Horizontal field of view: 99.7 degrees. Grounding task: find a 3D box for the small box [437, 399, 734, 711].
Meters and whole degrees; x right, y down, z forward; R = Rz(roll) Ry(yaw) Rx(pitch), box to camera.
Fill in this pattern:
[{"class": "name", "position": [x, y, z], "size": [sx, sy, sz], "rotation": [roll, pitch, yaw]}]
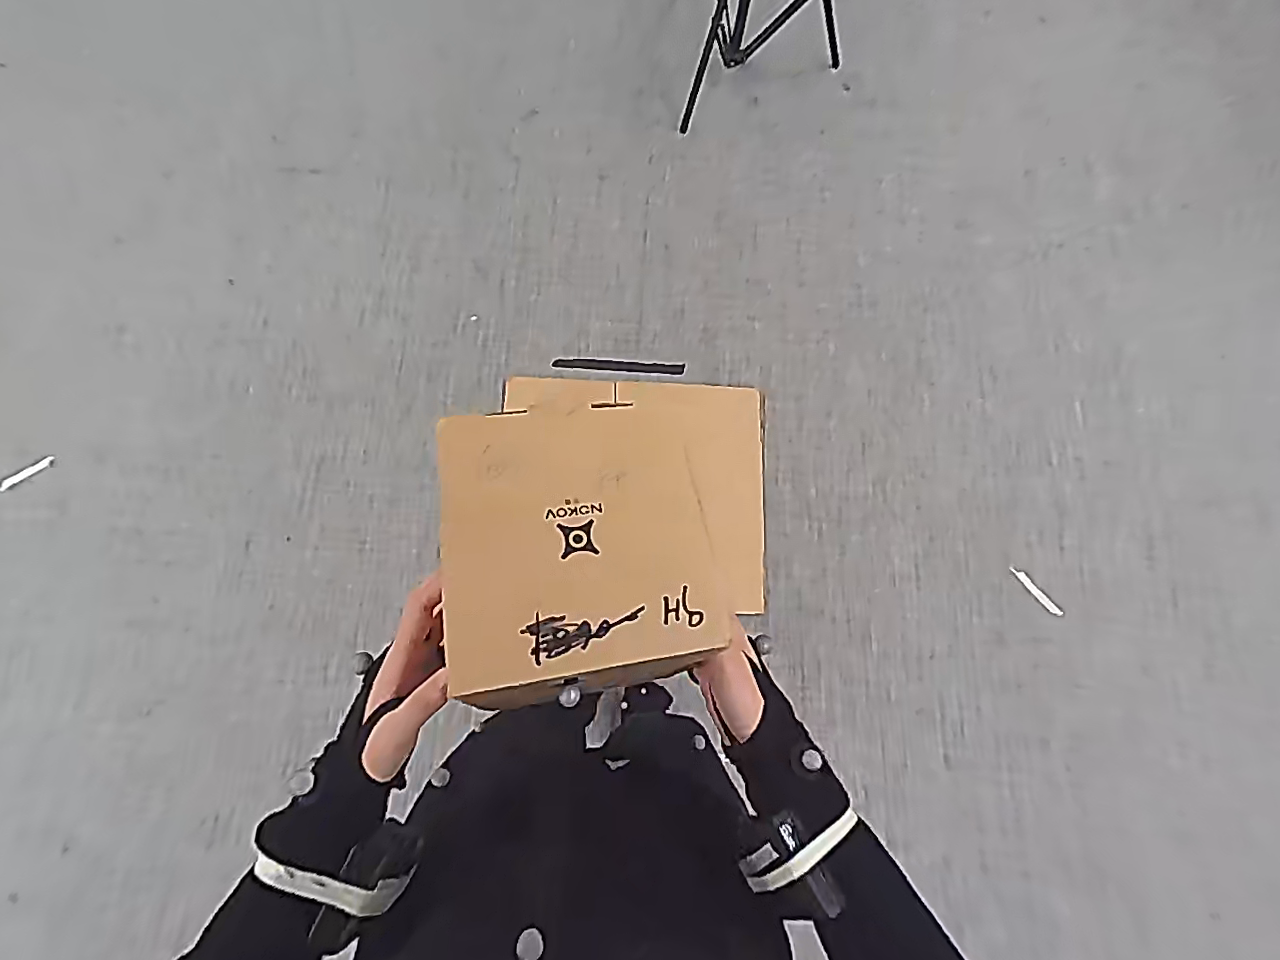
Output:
[{"class": "small box", "position": [-0.050, 0.063, 0.405], "size": [0.168, 0.176, 0.179], "rotation": [-7, 66, -11]}]
